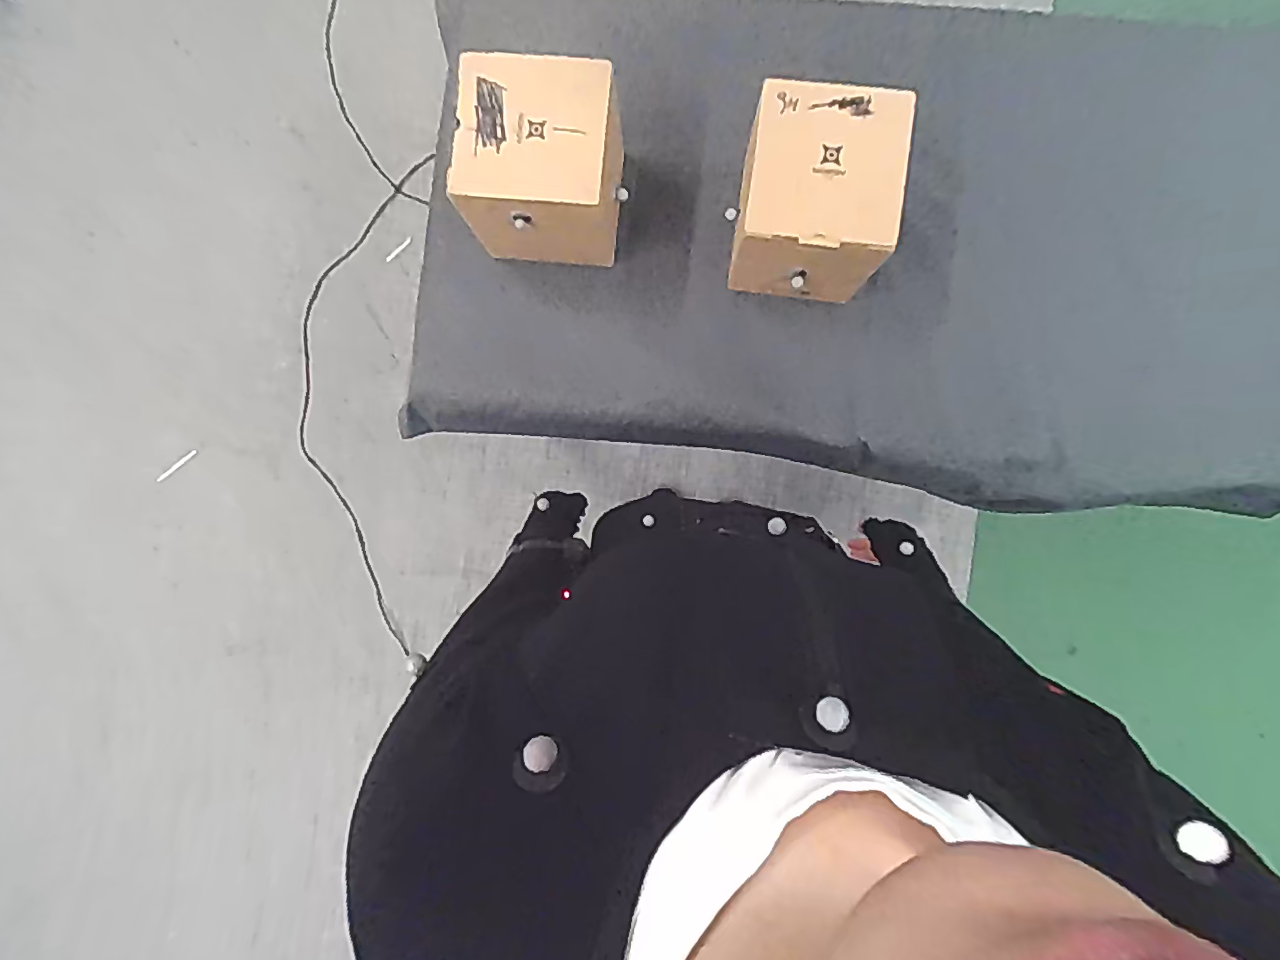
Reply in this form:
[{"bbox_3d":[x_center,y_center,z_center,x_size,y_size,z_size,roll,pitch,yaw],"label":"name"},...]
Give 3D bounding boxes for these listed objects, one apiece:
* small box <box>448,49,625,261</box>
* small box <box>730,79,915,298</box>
[{"bbox_3d":[-0.118,-0.394,0.683,0.179,0.176,0.168,6,90,2],"label":"small box"},{"bbox_3d":[0.209,-0.342,0.666,0.168,0.176,0.179,8,90,3],"label":"small box"}]
